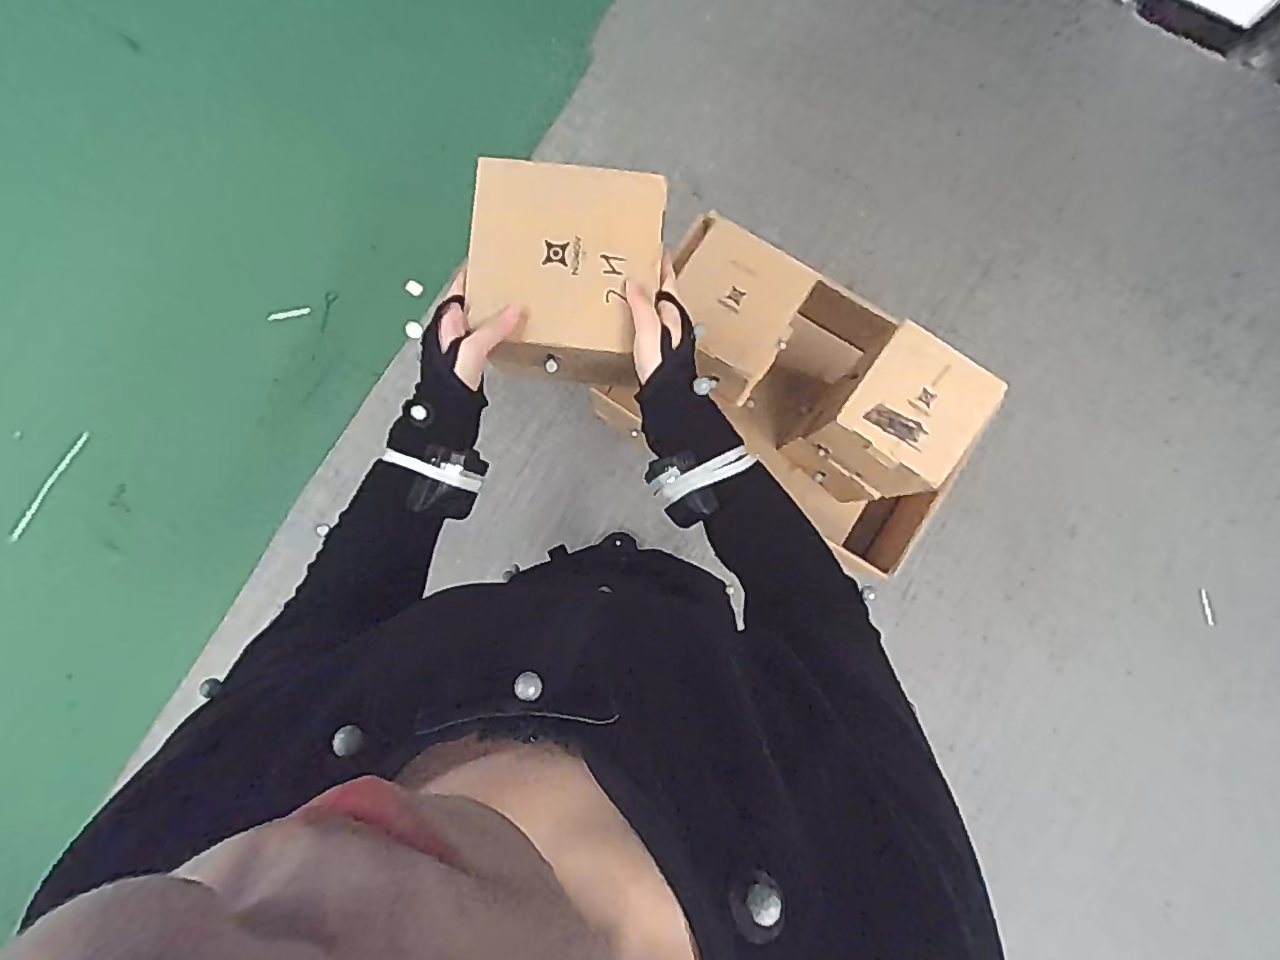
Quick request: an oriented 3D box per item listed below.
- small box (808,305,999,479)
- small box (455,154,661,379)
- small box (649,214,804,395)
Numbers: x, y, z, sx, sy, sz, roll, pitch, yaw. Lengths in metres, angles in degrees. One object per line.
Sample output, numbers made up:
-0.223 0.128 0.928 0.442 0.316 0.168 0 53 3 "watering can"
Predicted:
0.372 -0.116 0.804 0.168 0.176 0.179 34 86 4 "small box"
-0.074 -0.207 0.570 0.179 0.176 0.168 5 90 -1 "small box"
0.119 -0.253 0.825 0.168 0.176 0.179 31 86 4 "small box"
